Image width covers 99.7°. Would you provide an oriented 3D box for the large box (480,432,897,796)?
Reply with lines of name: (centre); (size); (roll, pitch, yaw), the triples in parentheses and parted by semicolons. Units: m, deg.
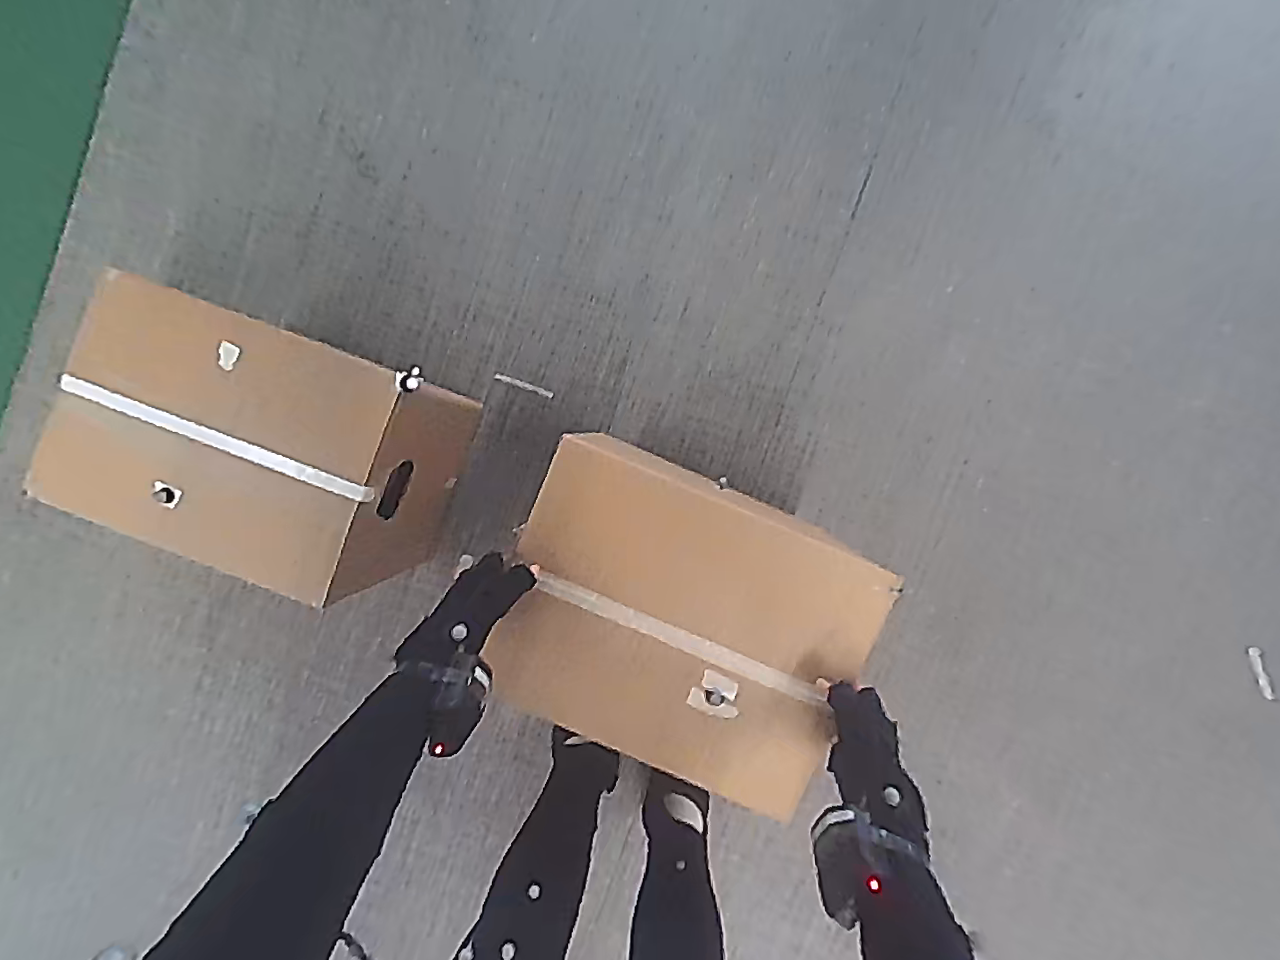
large box: (0.053, 0.146, 0.767); (0.408, 0.320, 0.320); (24, 96, -1)
